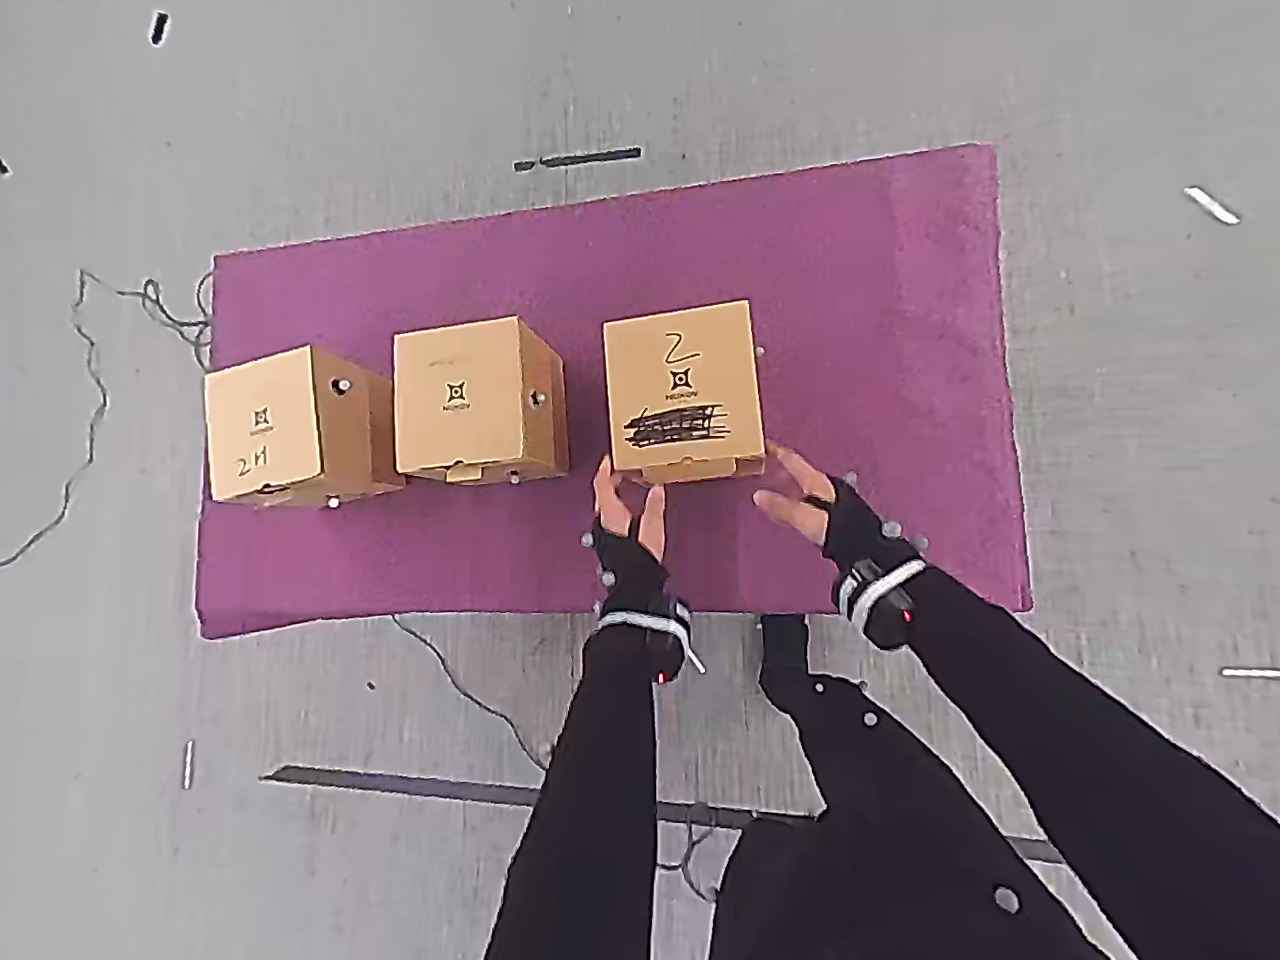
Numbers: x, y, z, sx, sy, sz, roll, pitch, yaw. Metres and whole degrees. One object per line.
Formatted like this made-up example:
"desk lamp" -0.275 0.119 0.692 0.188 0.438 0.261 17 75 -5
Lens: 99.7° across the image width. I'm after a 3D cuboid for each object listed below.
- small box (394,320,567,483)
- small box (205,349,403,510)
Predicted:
"small box" -0.201 -0.089 0.718 0.168 0.176 0.179 -5 83 10
"small box" -0.465 -0.060 0.767 0.168 0.176 0.179 -12 82 10
